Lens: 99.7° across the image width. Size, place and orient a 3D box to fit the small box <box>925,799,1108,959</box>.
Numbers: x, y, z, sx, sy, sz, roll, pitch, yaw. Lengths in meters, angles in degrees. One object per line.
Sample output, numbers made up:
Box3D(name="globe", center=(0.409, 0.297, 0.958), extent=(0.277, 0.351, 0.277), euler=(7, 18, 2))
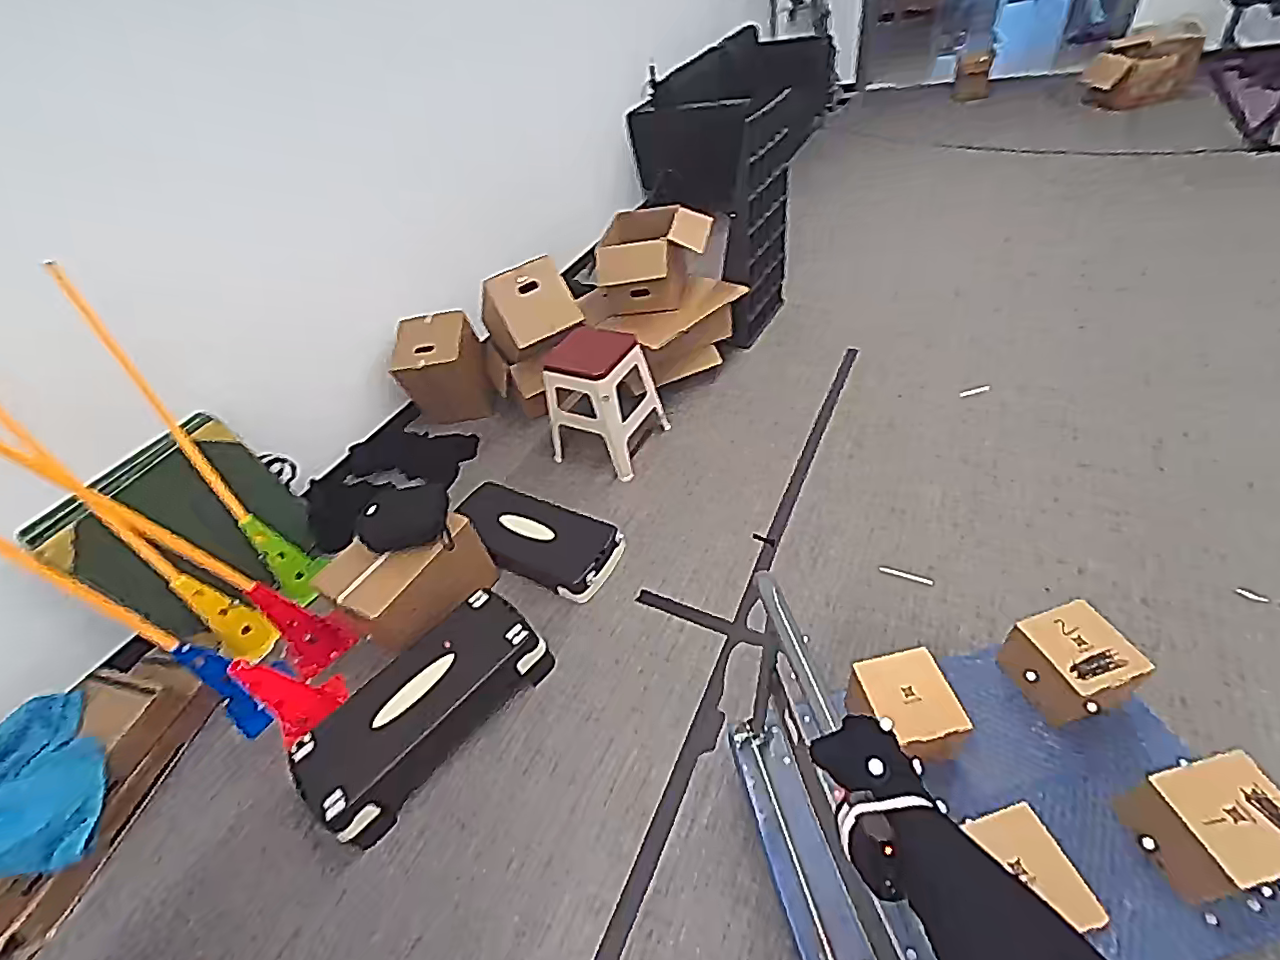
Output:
Box3D(name="small box", center=(0.626, 0.690, 0.929), extent=(0.168, 0.176, 0.179), euler=(-17, 44, -4))

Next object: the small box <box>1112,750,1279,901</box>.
Box3D(name="small box", center=(0.988, 0.599, 0.936), extent=(0.179, 0.176, 0.168), euler=(-16, 44, -1))

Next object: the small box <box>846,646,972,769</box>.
Box3D(name="small box", center=(0.557, 0.486, 1.153), extent=(0.168, 0.176, 0.179), euler=(-13, 46, -1))
